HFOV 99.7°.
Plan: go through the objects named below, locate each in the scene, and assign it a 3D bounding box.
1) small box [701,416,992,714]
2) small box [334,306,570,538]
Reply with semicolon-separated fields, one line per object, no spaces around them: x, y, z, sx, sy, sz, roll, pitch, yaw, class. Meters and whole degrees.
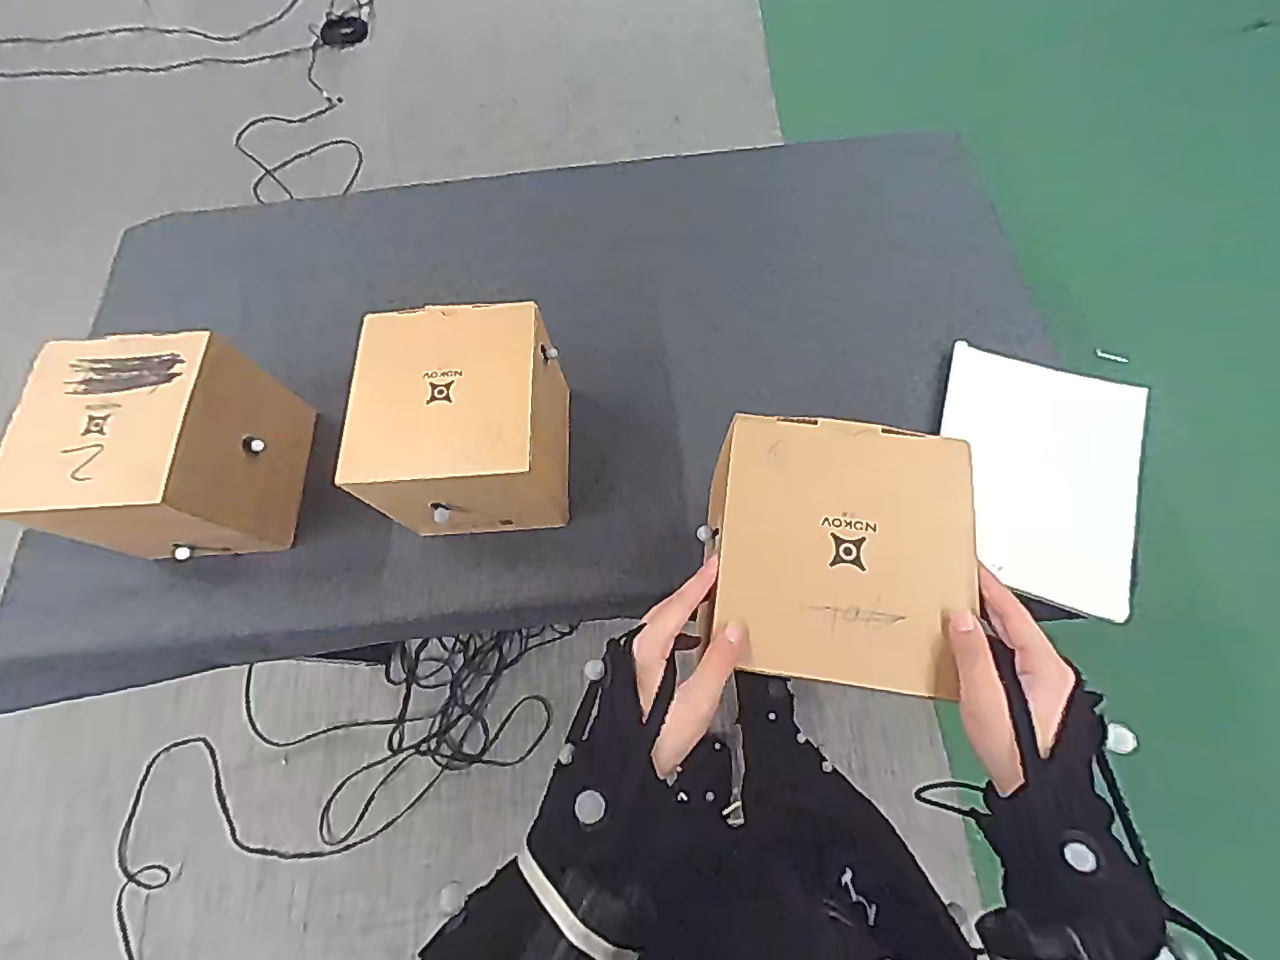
0.140;0.070;0.423;0.168;0.176;0.179;6;73;5;small box
-0.167;-0.044;0.541;0.168;0.176;0.179;-4;67;3;small box
